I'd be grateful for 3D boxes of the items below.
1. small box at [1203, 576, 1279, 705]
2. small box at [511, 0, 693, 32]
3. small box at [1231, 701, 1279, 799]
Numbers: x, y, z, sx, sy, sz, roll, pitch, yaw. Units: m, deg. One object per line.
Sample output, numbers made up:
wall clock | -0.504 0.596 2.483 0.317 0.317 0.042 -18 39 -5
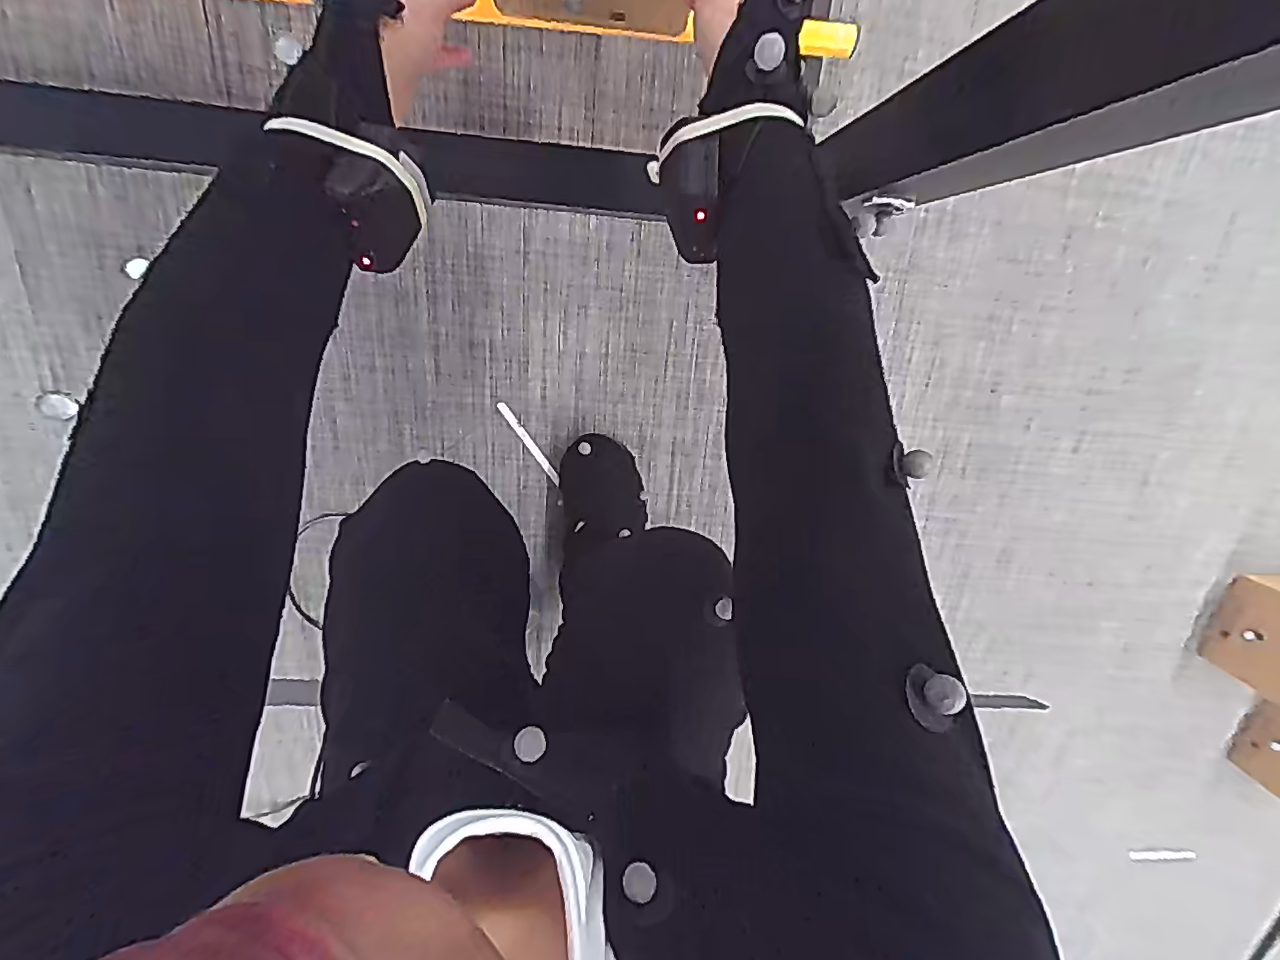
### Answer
small box | 1.075 0.263 0.850 0.179 0.176 0.168 2 109 -6
small box | -0.028 -0.456 0.369 0.168 0.176 0.179 3 110 -5
small box | 1.238 0.504 0.954 0.179 0.176 0.168 5 109 -6
